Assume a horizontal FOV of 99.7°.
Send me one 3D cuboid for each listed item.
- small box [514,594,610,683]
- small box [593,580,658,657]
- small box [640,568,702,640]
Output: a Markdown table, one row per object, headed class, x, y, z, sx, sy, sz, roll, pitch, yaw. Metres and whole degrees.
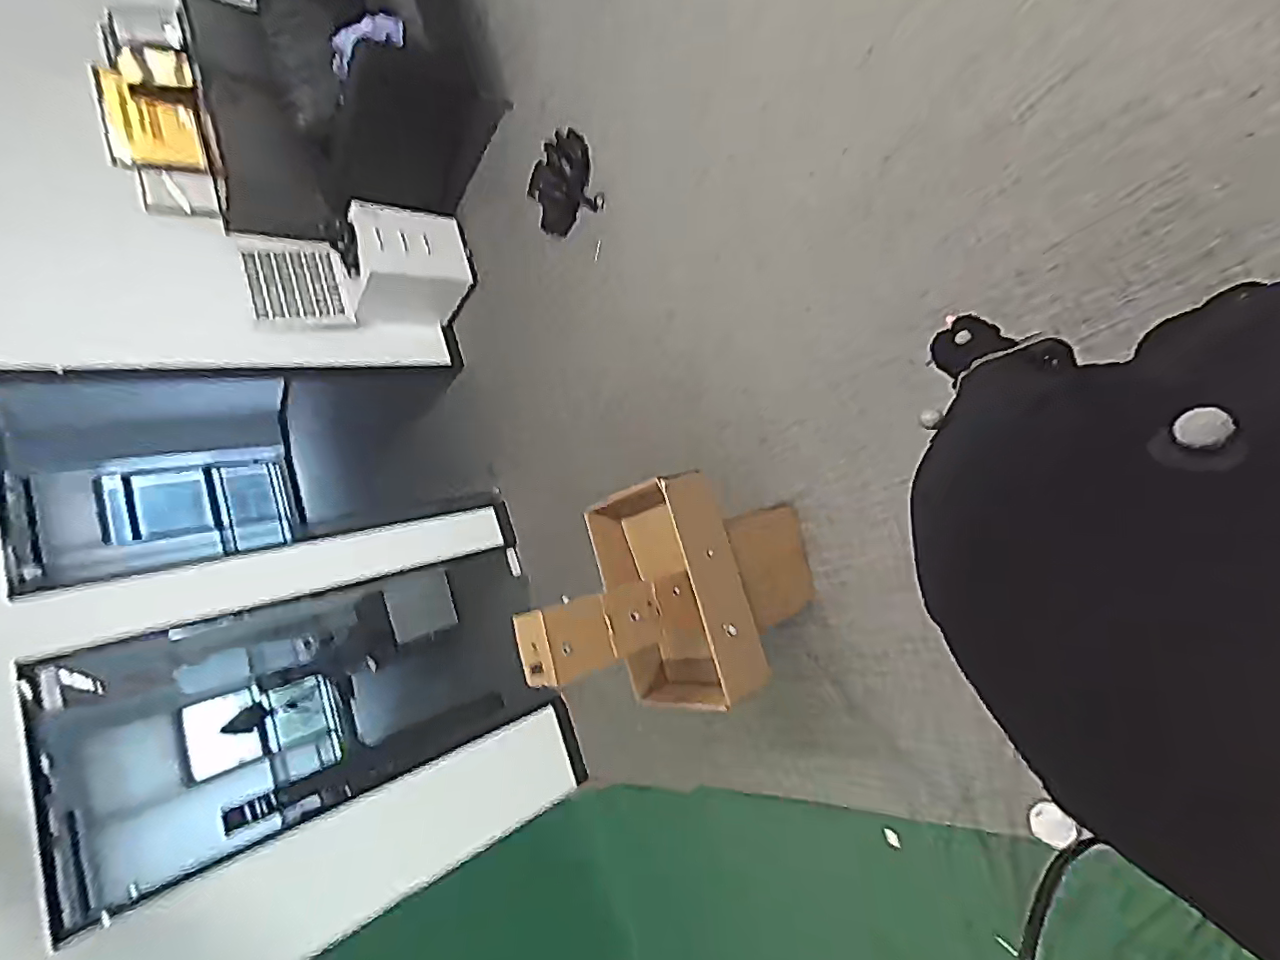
| class | x | y | z | sx | sy | sz | roll | pitch | yaw |
| --- | --- | --- | --- | --- | --- | --- | --- | --- | --- |
| small box | -0.196 | 0.402 | 1.374 | 0.168 | 0.176 | 0.179 | -26 | 76 | 49 |
| small box | -0.068 | 0.380 | 1.477 | 0.179 | 0.176 | 0.168 | -29 | 74 | 48 |
| small box | 0.062 | 0.362 | 1.575 | 0.179 | 0.176 | 0.168 | -26 | 76 | 51 |
